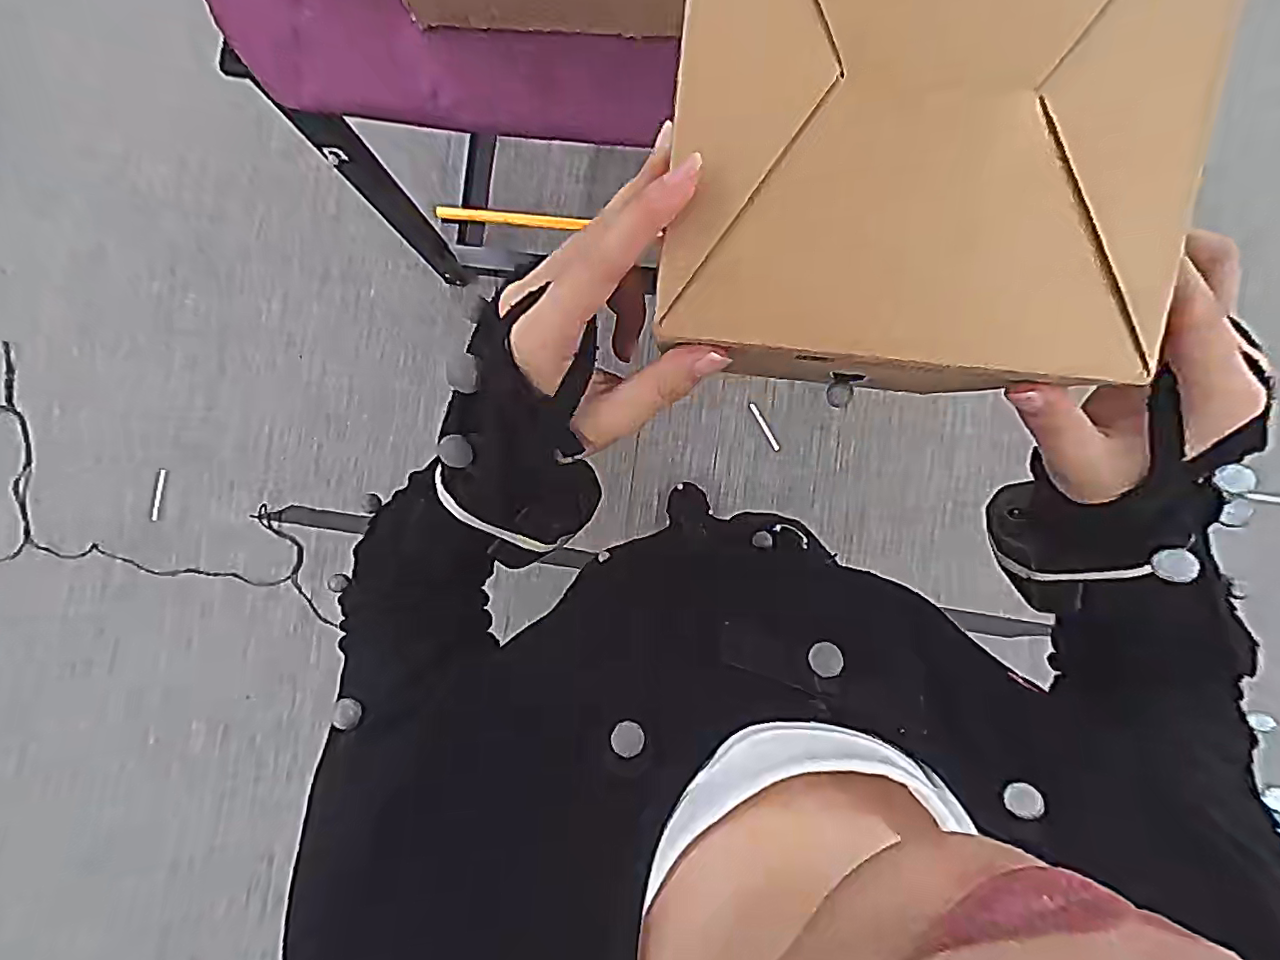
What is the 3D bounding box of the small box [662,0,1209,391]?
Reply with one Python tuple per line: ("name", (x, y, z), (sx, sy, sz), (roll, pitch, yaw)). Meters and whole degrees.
("small box", (0.101, -0.140, 0.254), (0.168, 0.176, 0.179), (7, 98, 3))
